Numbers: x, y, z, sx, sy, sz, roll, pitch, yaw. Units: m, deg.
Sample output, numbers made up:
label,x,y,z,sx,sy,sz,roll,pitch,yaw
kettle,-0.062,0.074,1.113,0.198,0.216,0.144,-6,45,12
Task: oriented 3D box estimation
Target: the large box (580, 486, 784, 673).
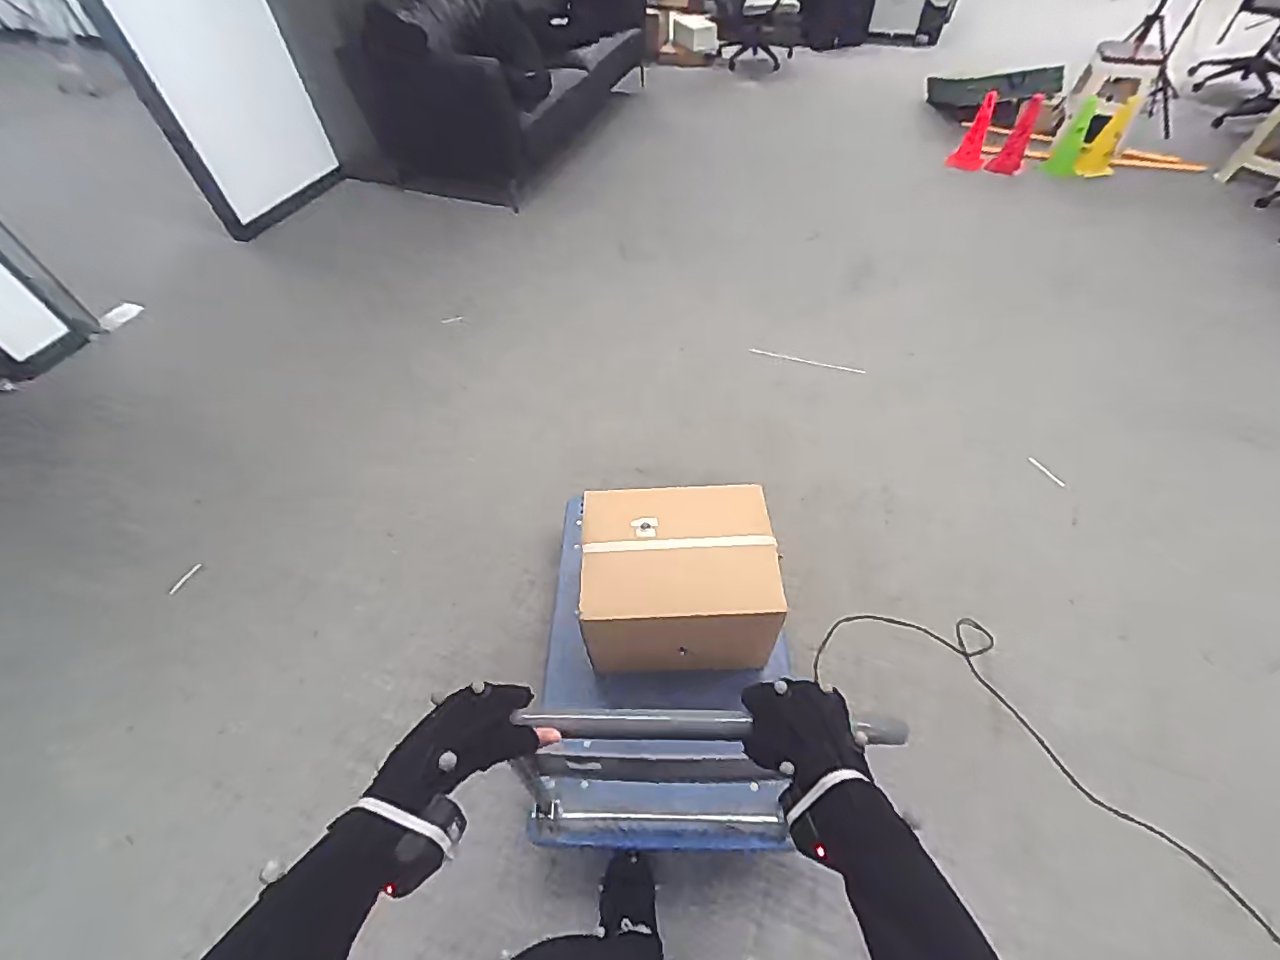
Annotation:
label,x,y,z,sx,sy,sz,roll,pitch,yaw
large box,0.082,0.238,1.251,0.408,0.320,0.320,-3,51,1
